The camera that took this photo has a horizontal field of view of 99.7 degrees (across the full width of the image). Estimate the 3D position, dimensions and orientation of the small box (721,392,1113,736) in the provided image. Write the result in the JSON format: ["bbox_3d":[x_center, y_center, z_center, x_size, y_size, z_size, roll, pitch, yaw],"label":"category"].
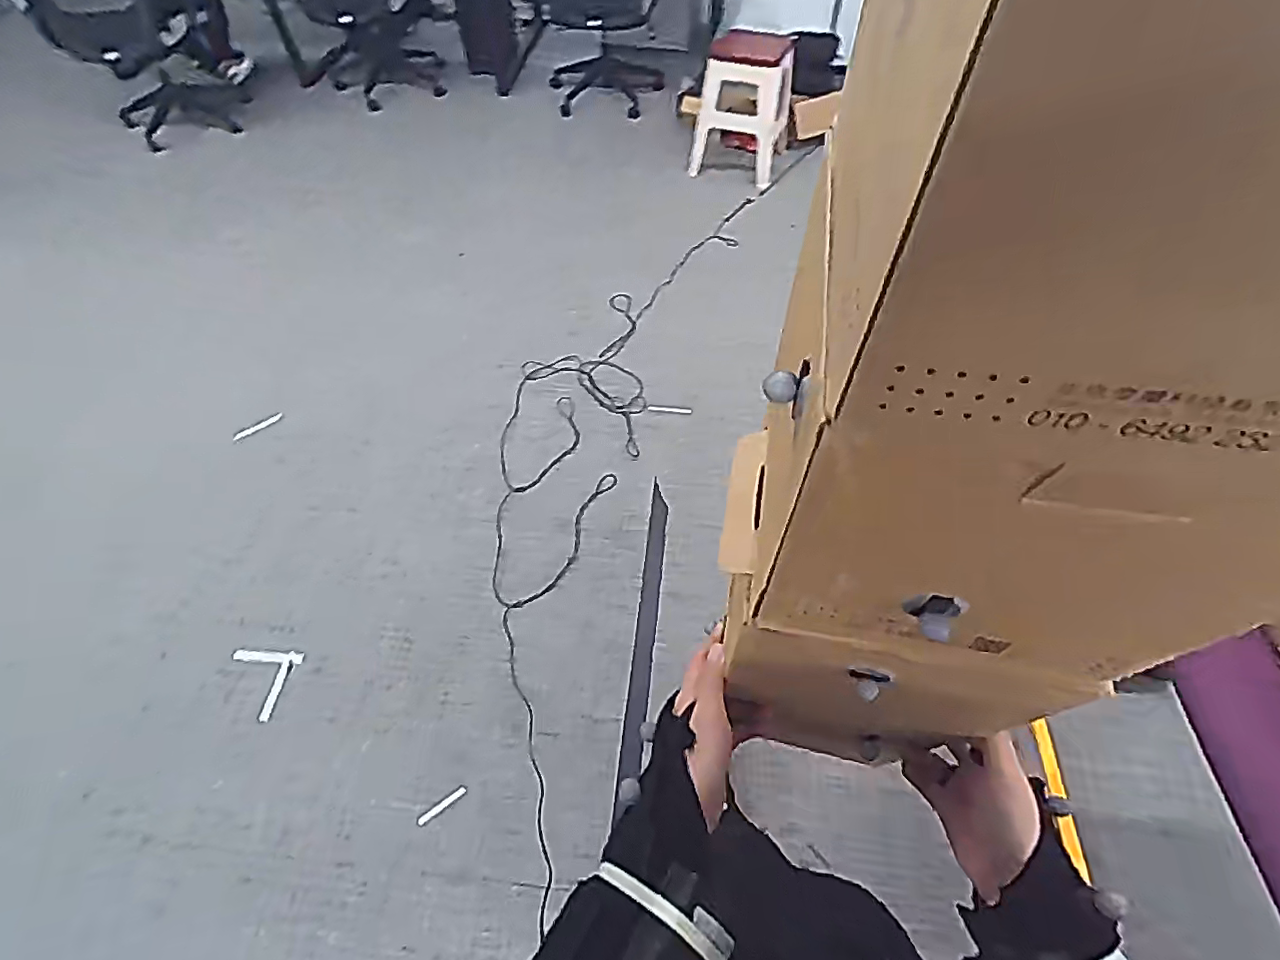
[{"bbox_3d":[0.155,0.062,0.370,0.179,0.176,0.168,9,58,9],"label":"small box"}]

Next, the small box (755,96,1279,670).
[{"bbox_3d":[0.148,-0.035,0.241,0.168,0.176,0.179,8,58,8],"label":"small box"}]
